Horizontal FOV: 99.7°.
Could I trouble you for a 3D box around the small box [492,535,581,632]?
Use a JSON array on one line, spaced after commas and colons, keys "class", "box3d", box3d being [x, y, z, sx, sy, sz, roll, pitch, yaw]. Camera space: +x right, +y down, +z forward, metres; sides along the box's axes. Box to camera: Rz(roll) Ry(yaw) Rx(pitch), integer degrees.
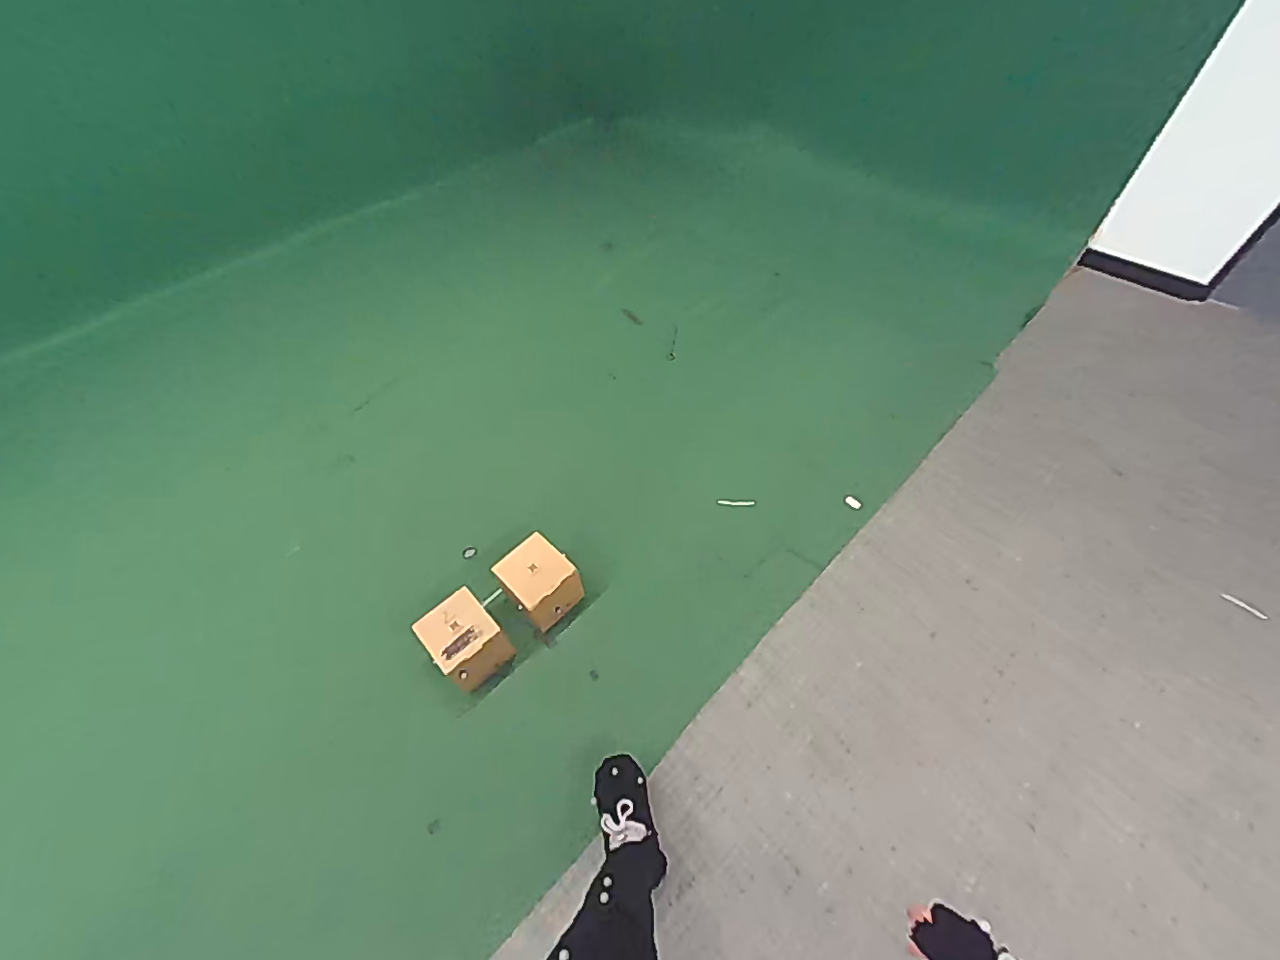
[{"class": "small box", "box3d": [-0.287, 0.296, 1.528, 0.179, 0.176, 0.168, 38, 62, 26]}]
